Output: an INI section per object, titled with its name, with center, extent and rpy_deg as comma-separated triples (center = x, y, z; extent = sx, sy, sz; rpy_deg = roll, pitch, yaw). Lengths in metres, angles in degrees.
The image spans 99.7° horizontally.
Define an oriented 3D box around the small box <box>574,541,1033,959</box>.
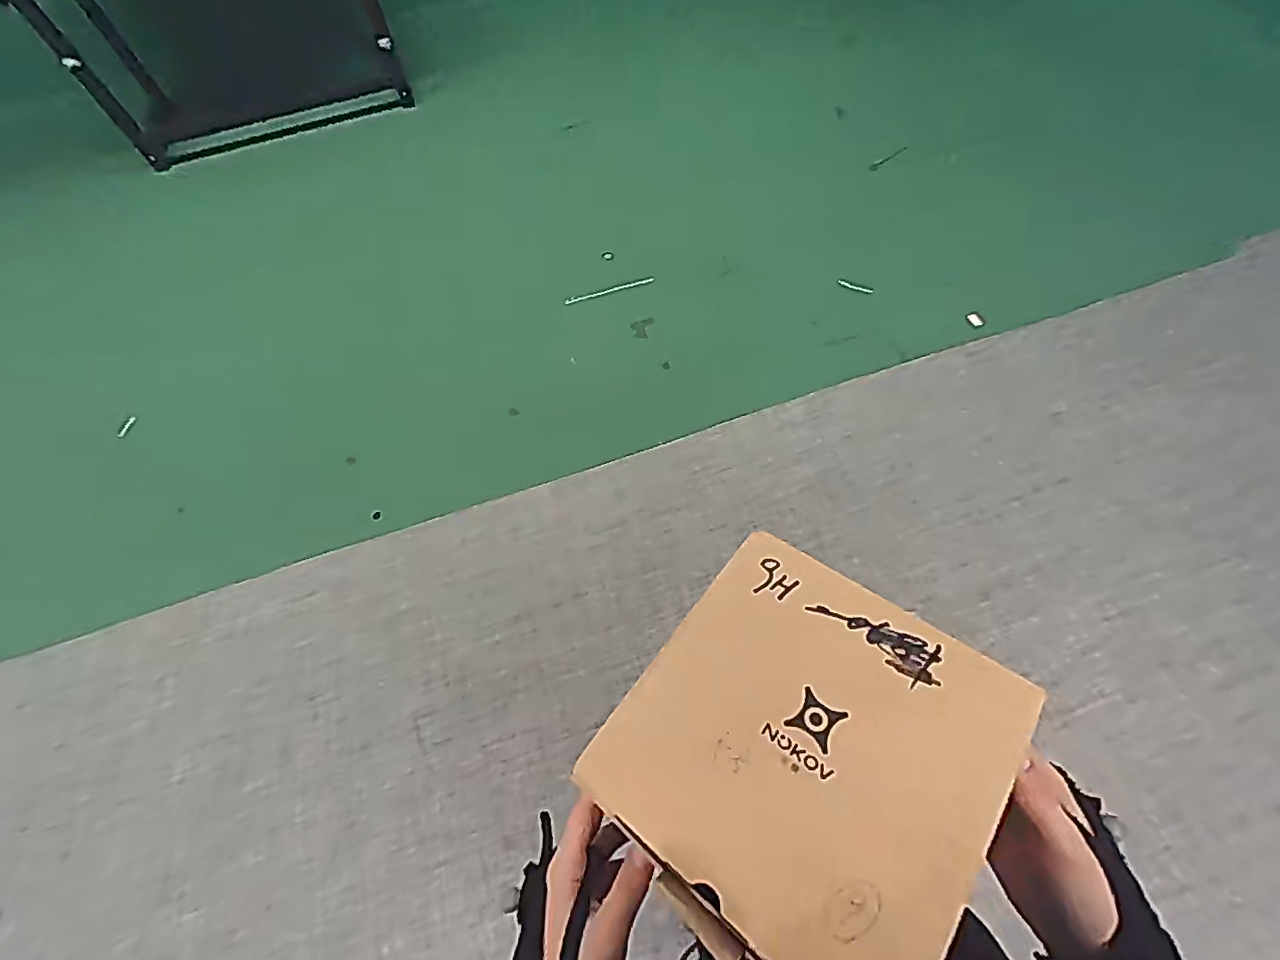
[small box]
center = 0.091, 0.178, 0.335
extent = 0.168, 0.176, 0.179
rpy_deg = 30, 64, 27
